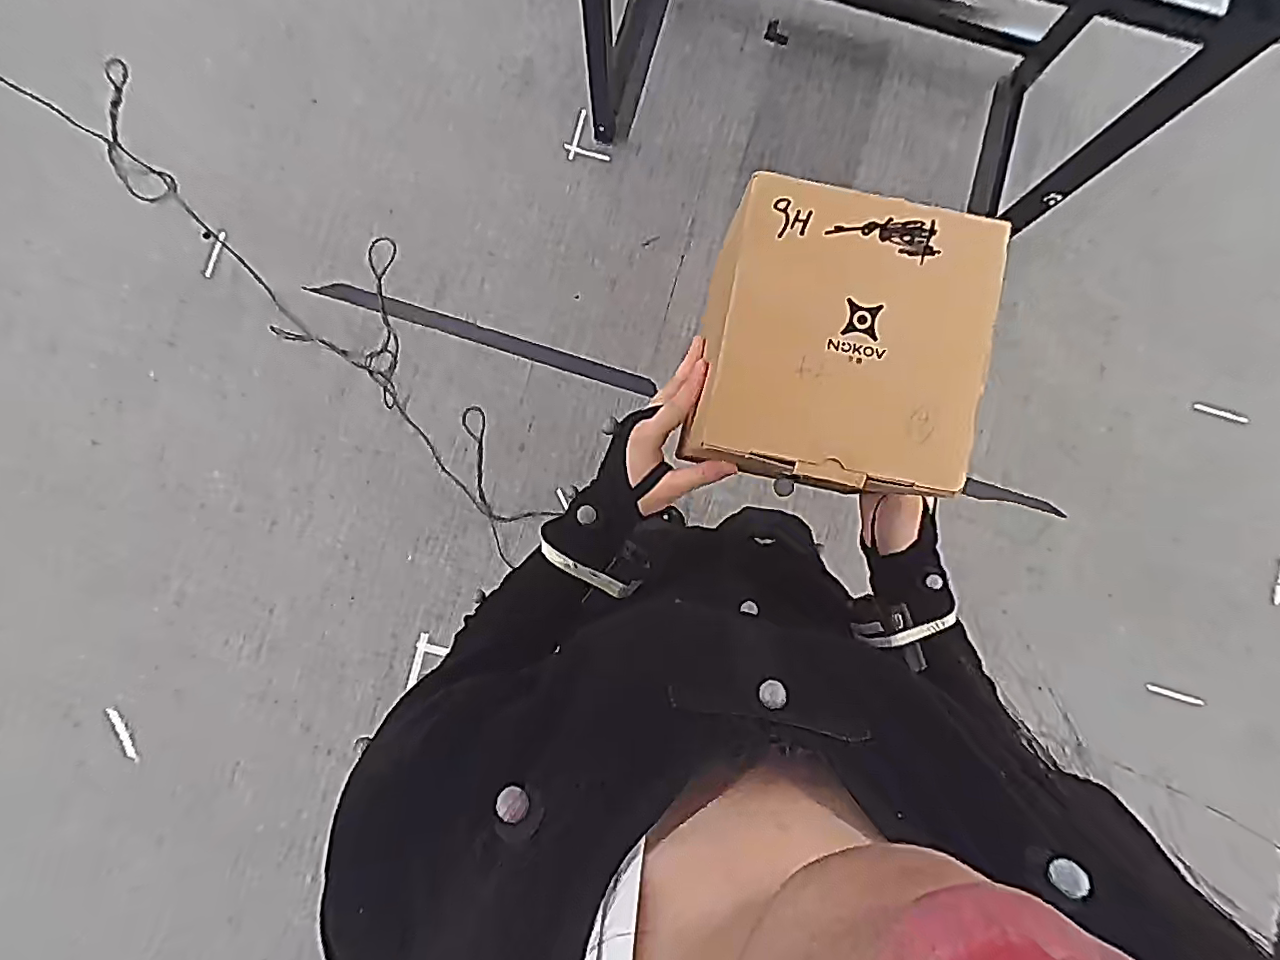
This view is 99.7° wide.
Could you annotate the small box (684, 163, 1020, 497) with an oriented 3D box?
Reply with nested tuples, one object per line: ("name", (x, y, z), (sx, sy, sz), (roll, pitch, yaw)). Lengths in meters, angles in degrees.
("small box", (0.132, -0.091, 0.406), (0.168, 0.176, 0.179), (11, 90, -3))
